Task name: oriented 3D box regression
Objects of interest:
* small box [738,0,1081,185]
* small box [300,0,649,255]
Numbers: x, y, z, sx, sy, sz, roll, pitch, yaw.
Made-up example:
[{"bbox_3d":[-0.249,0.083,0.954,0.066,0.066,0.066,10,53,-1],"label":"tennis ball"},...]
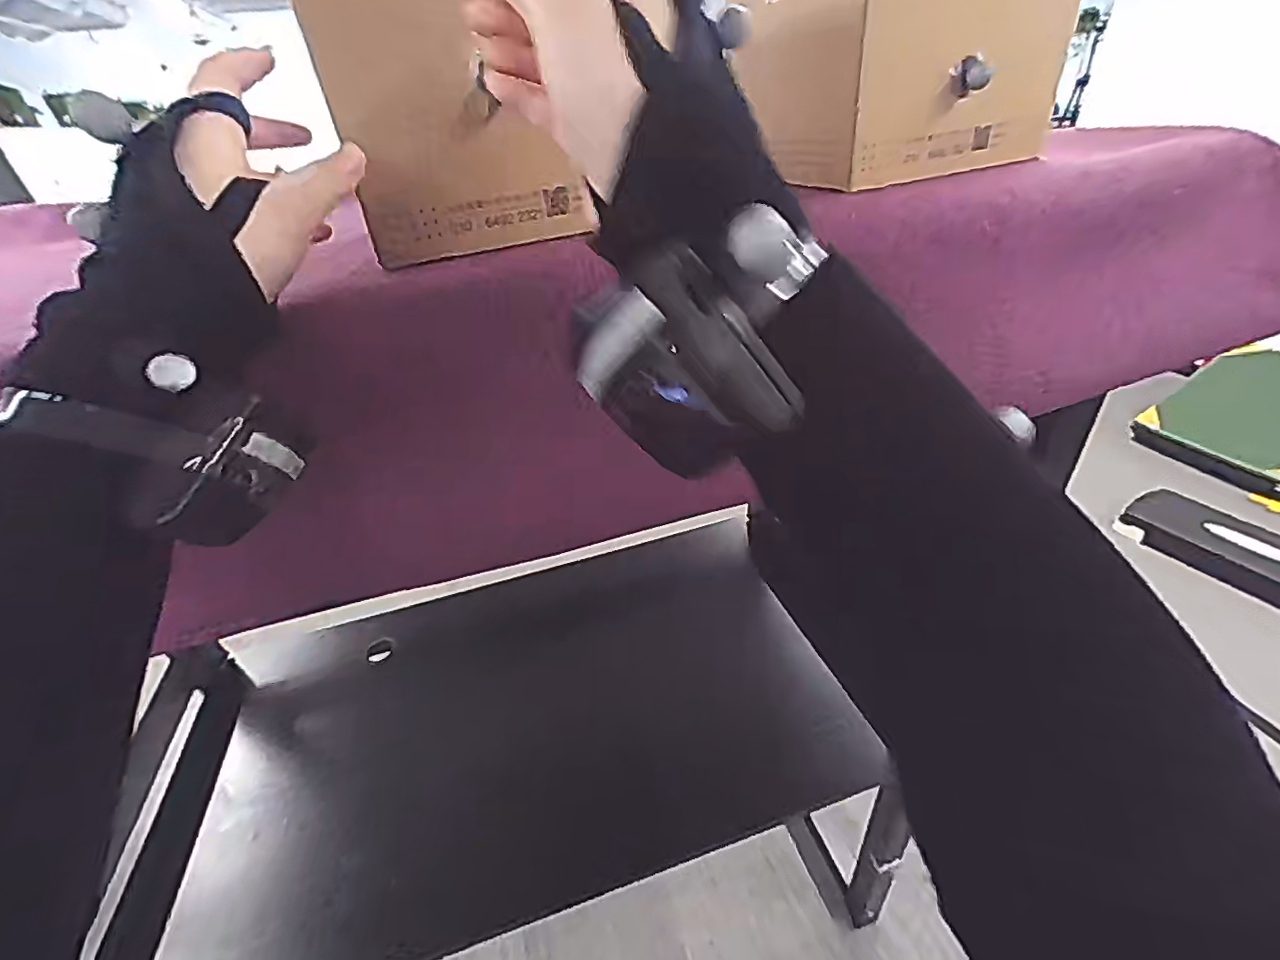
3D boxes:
[{"bbox_3d":[0.180,-0.321,0.397,0.168,0.176,0.179,-16,35,-13],"label":"small box"},{"bbox_3d":[-0.104,-0.248,0.337,0.168,0.176,0.179,-18,36,-18],"label":"small box"}]
